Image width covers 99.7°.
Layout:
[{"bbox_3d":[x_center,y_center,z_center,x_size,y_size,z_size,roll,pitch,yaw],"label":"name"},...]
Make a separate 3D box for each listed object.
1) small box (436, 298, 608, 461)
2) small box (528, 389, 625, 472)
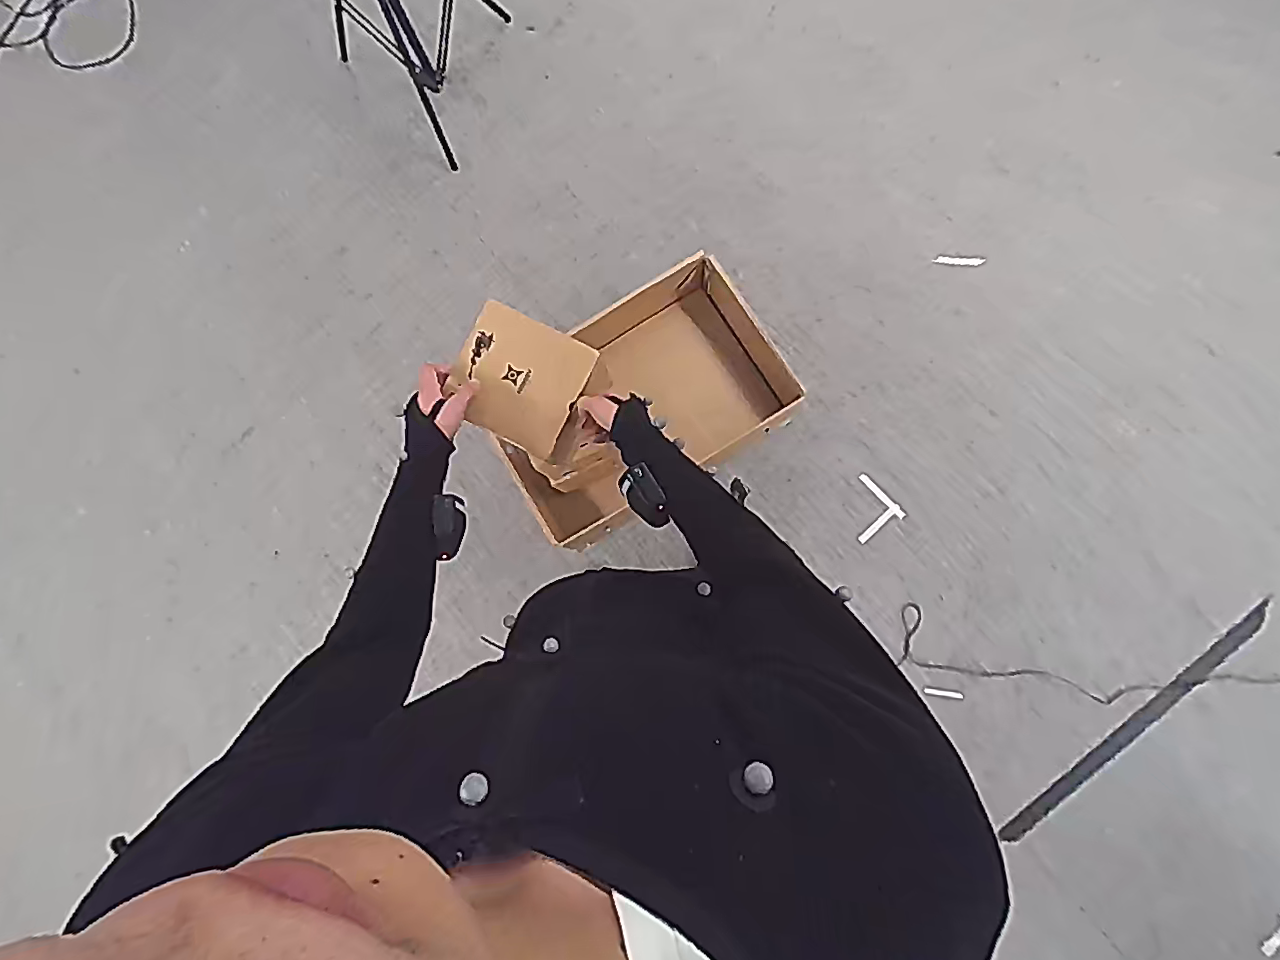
[{"bbox_3d":[-0.160,-0.136,0.801,0.179,0.176,0.168,26,90,2],"label":"small box"},{"bbox_3d":[-0.138,-0.124,1.031,0.168,0.176,0.179,-24,81,1],"label":"small box"}]
